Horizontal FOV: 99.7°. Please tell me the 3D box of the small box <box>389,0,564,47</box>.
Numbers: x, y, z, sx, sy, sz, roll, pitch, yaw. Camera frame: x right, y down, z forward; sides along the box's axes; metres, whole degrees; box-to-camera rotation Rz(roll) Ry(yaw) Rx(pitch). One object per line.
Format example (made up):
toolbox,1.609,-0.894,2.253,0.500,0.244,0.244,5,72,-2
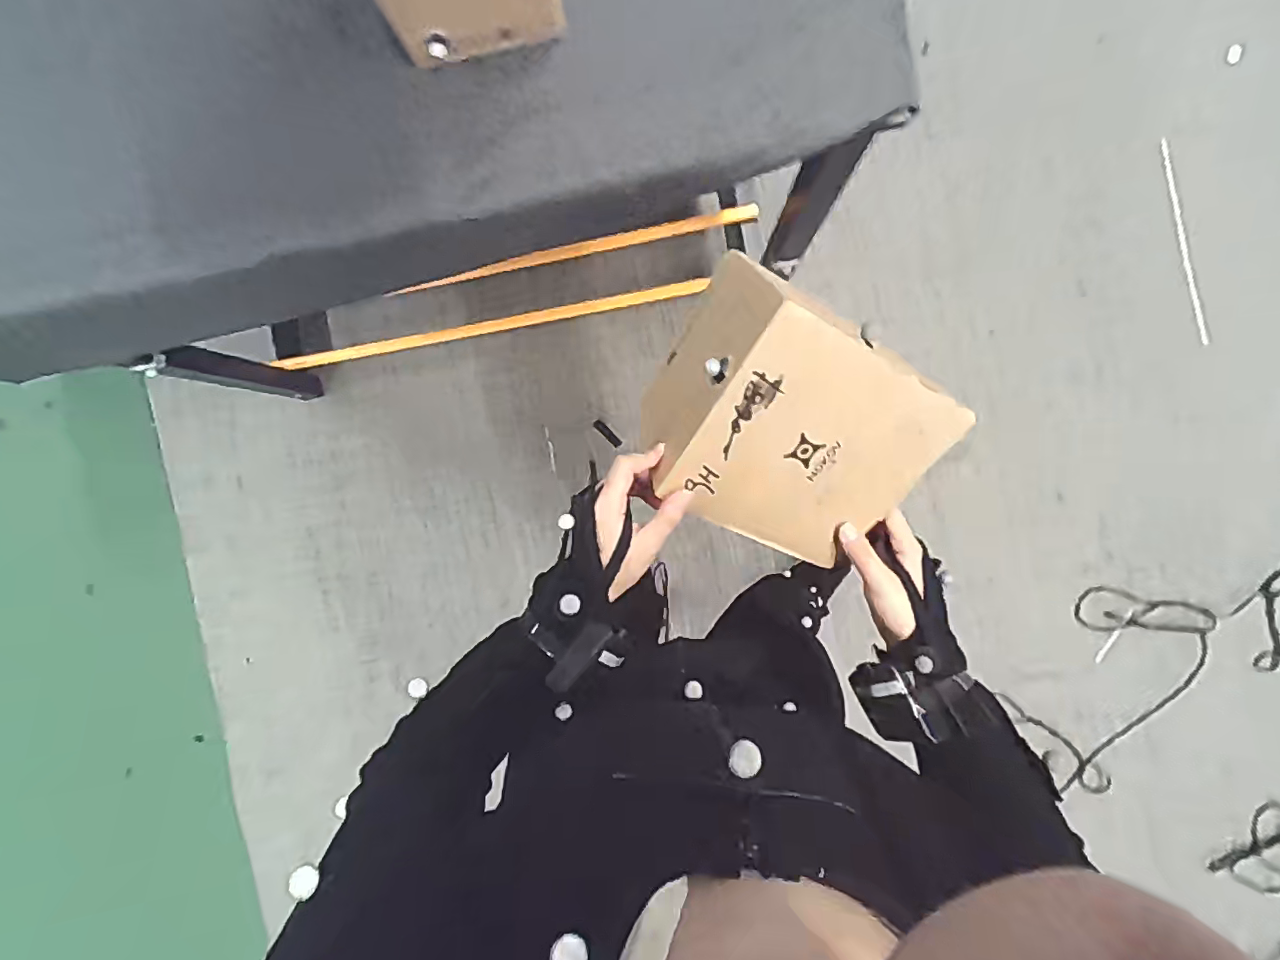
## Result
small box,-0.175,-0.547,0.499,0.168,0.176,0.179,-10,90,4
